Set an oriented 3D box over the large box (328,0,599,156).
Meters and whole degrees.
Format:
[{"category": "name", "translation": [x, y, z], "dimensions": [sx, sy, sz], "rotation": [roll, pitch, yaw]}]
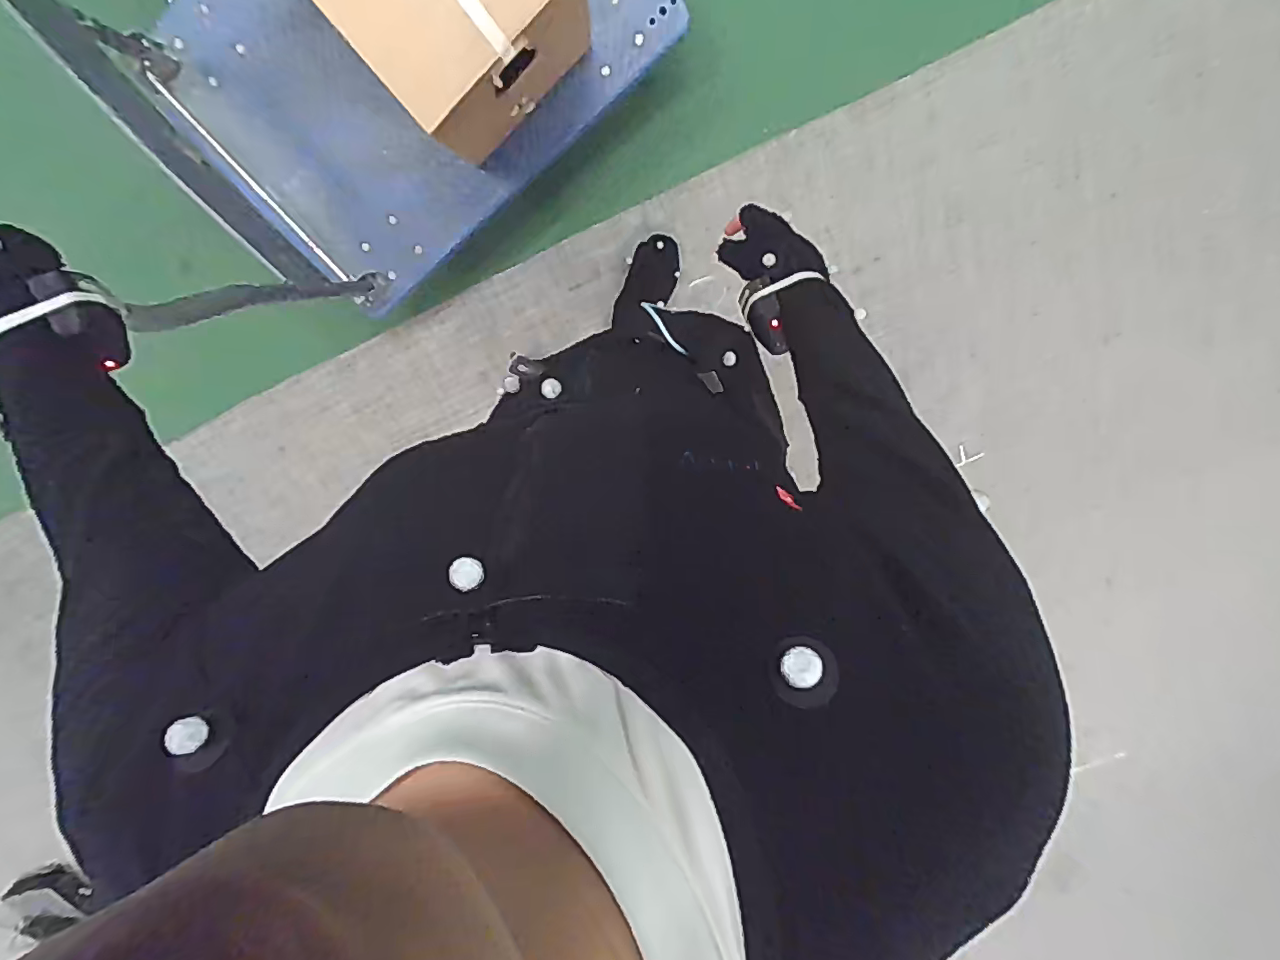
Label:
[{"category": "large box", "translation": [-0.311, -0.800, 0.827], "dimensions": [0.320, 0.320, 0.408], "rotation": [-39, 109, 12]}]
